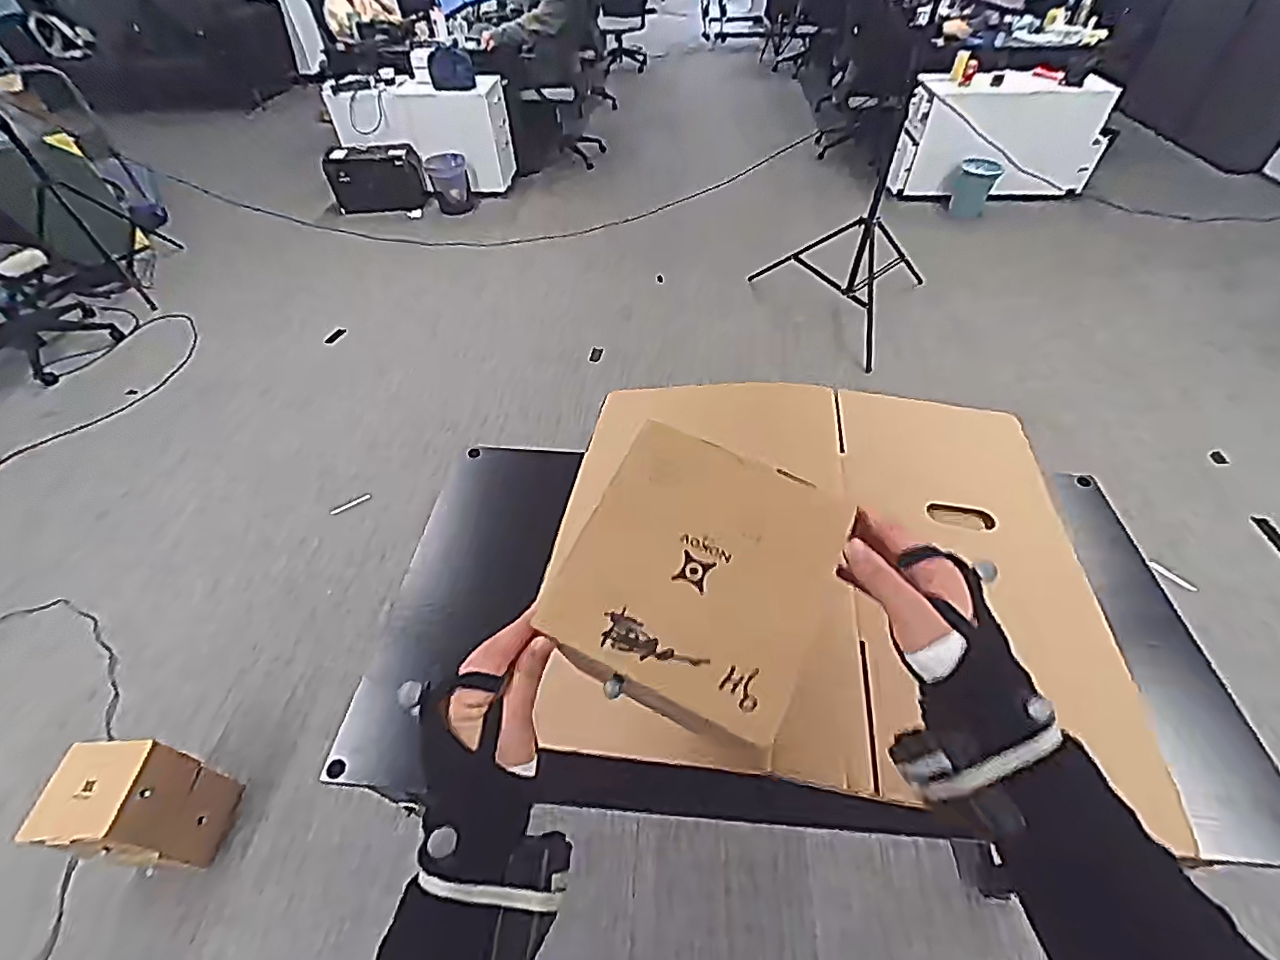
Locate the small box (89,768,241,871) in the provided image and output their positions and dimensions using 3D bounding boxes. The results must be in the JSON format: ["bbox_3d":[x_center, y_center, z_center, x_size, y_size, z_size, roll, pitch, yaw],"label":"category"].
[{"bbox_3d":[-1.062,0.774,1.233,0.168,0.176,0.179,-1,49,1],"label":"small box"}]

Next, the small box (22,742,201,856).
[{"bbox_3d":[-1.067,0.662,1.115,0.168,0.176,0.179,-2,47,-2],"label":"small box"}]

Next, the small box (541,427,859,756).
[{"bbox_3d":[0.045,0.095,0.435,0.168,0.176,0.179,25,66,14],"label":"small box"}]
